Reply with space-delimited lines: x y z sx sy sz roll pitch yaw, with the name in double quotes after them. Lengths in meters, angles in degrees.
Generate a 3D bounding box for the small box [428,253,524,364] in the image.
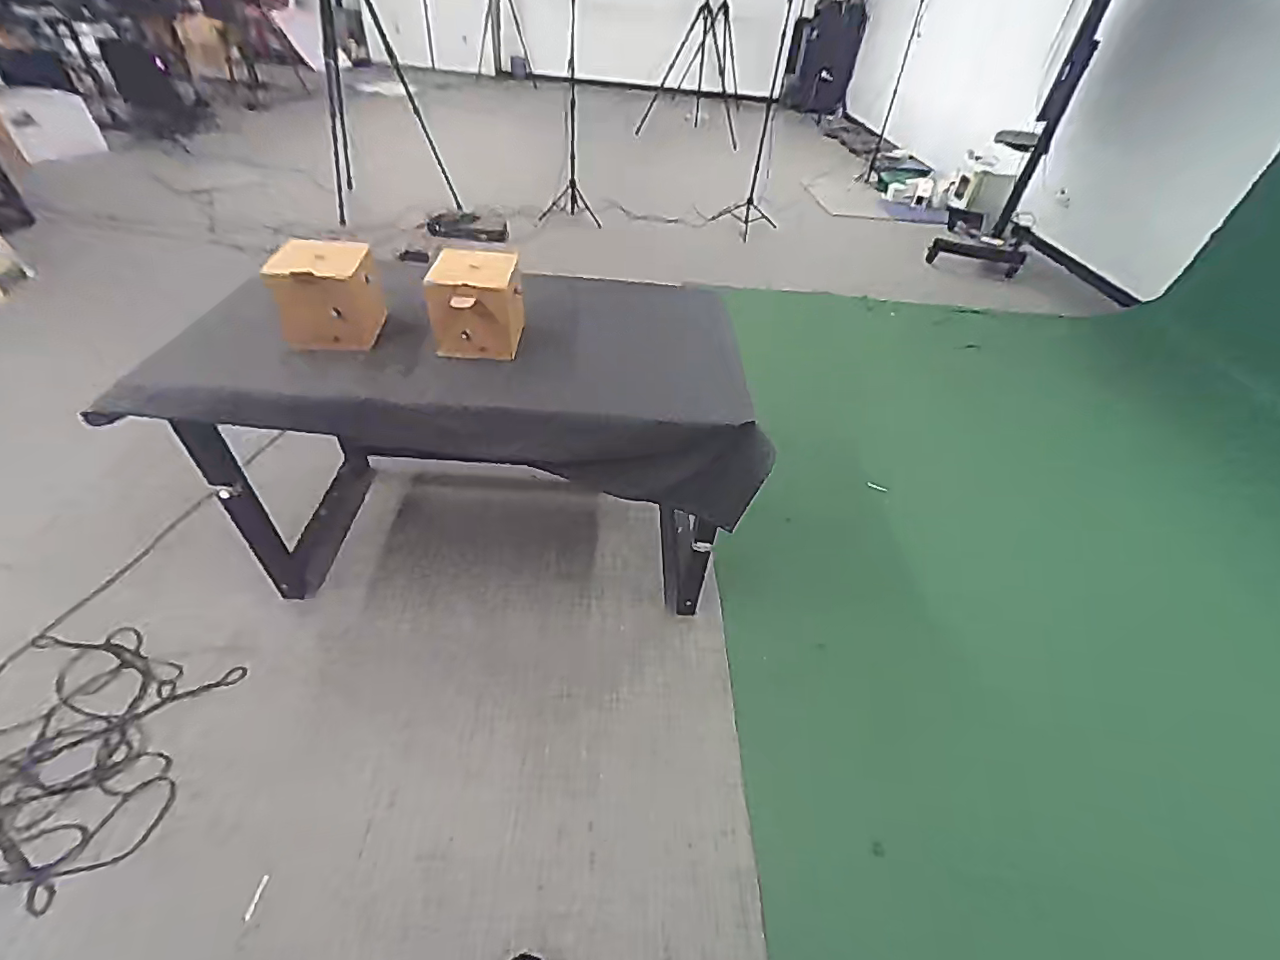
-0.349 -0.376 1.188 0.168 0.176 0.179 3 43 -4 "small box"

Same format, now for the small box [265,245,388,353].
-0.656 -0.385 1.158 0.168 0.176 0.179 0 42 -10 "small box"
